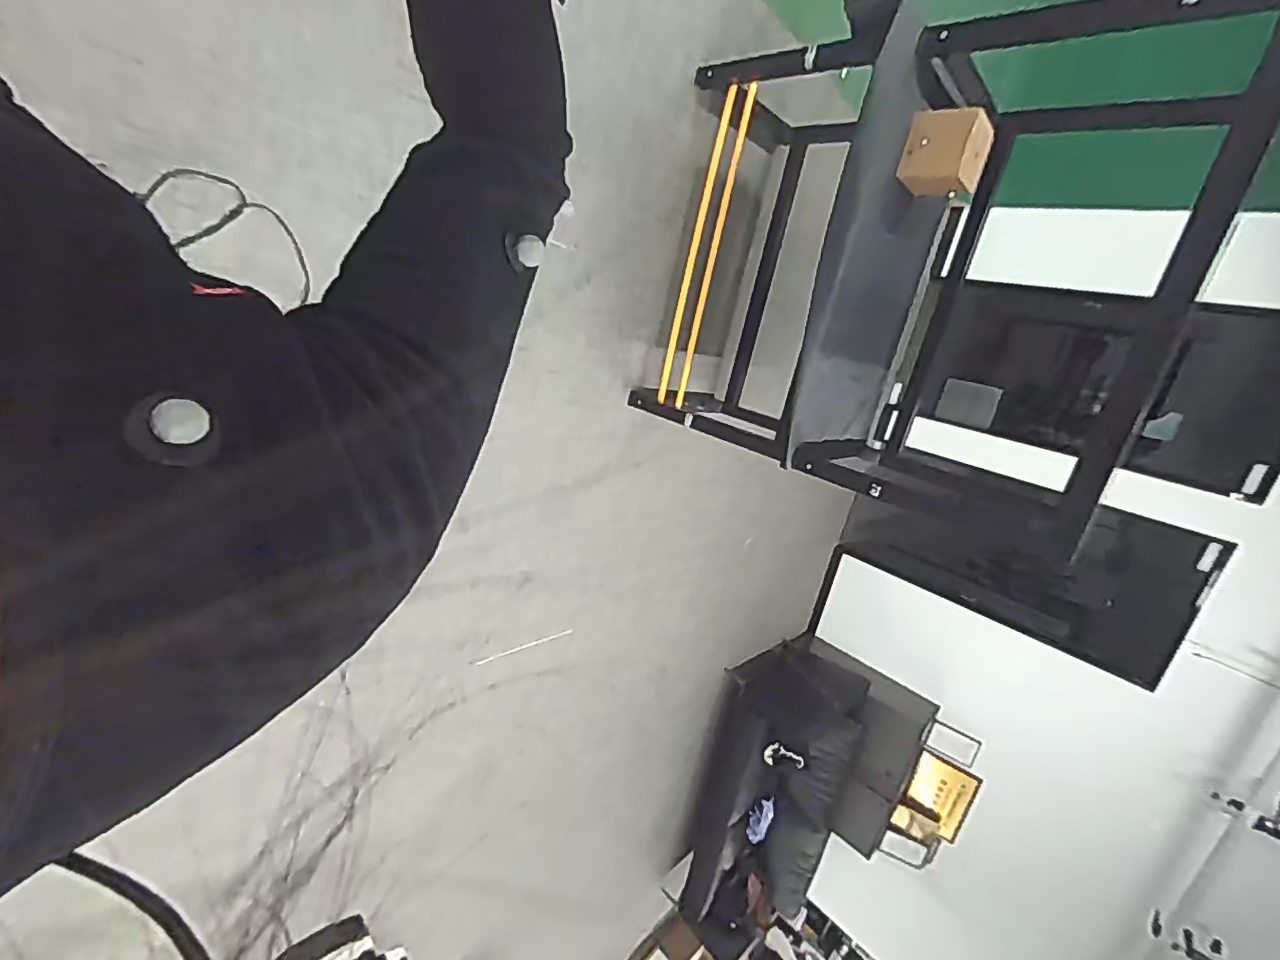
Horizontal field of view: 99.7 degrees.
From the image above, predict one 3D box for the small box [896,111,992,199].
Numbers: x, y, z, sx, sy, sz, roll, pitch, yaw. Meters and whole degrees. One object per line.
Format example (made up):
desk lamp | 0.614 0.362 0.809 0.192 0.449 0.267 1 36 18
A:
small box | 0.860 -0.917 1.532 0.179 0.176 0.168 -5 114 -47
